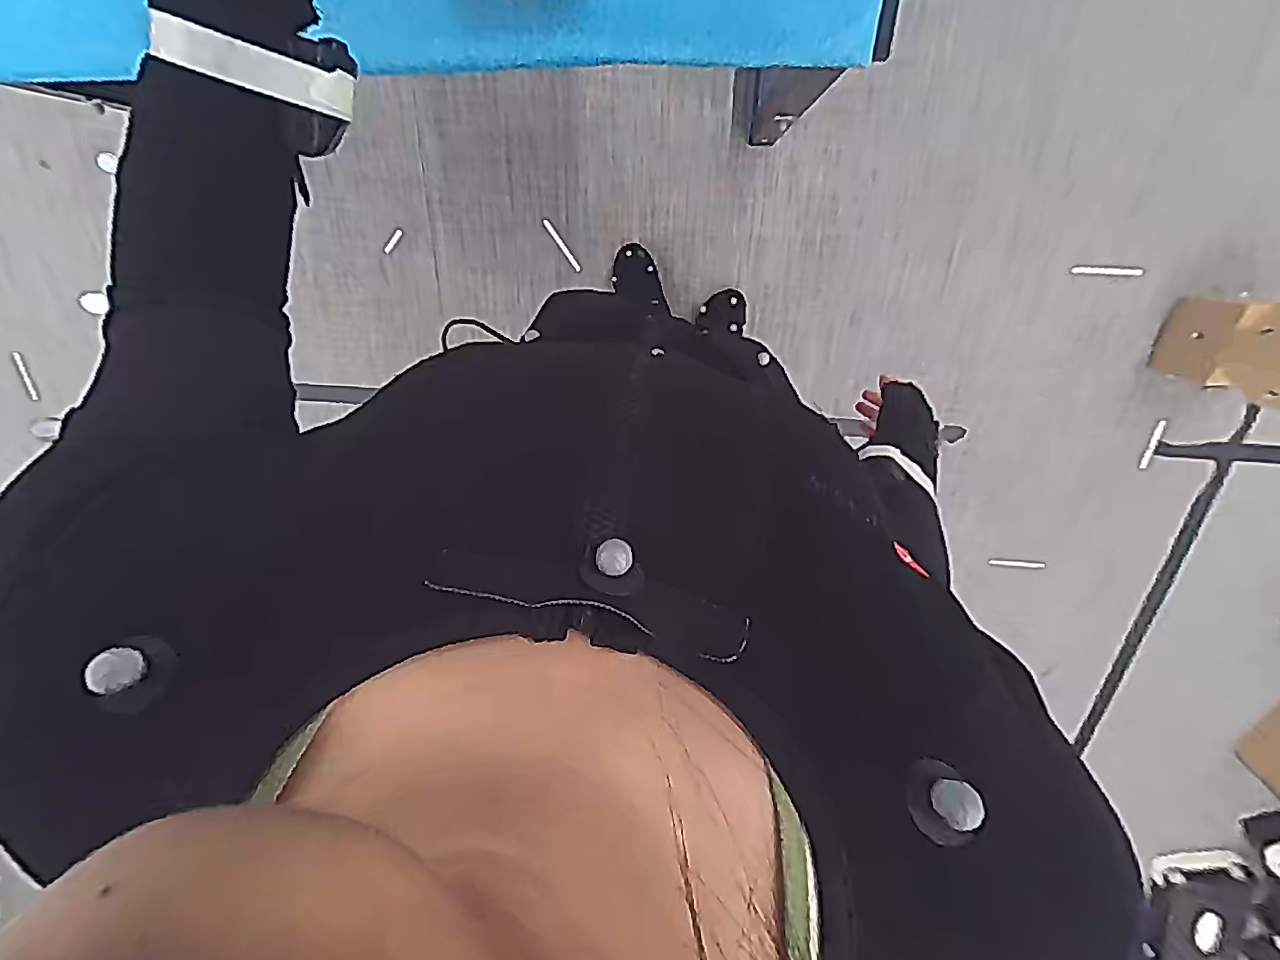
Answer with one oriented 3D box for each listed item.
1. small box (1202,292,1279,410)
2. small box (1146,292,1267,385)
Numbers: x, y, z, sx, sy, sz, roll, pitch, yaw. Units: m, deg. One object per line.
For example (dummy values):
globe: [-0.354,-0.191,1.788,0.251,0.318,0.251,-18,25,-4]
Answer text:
small box: [1.317,-0.248,1.074,0.168,0.176,0.179,37,112,-13]
small box: [1.317,-0.320,1.225,0.168,0.176,0.179,5,115,2]
